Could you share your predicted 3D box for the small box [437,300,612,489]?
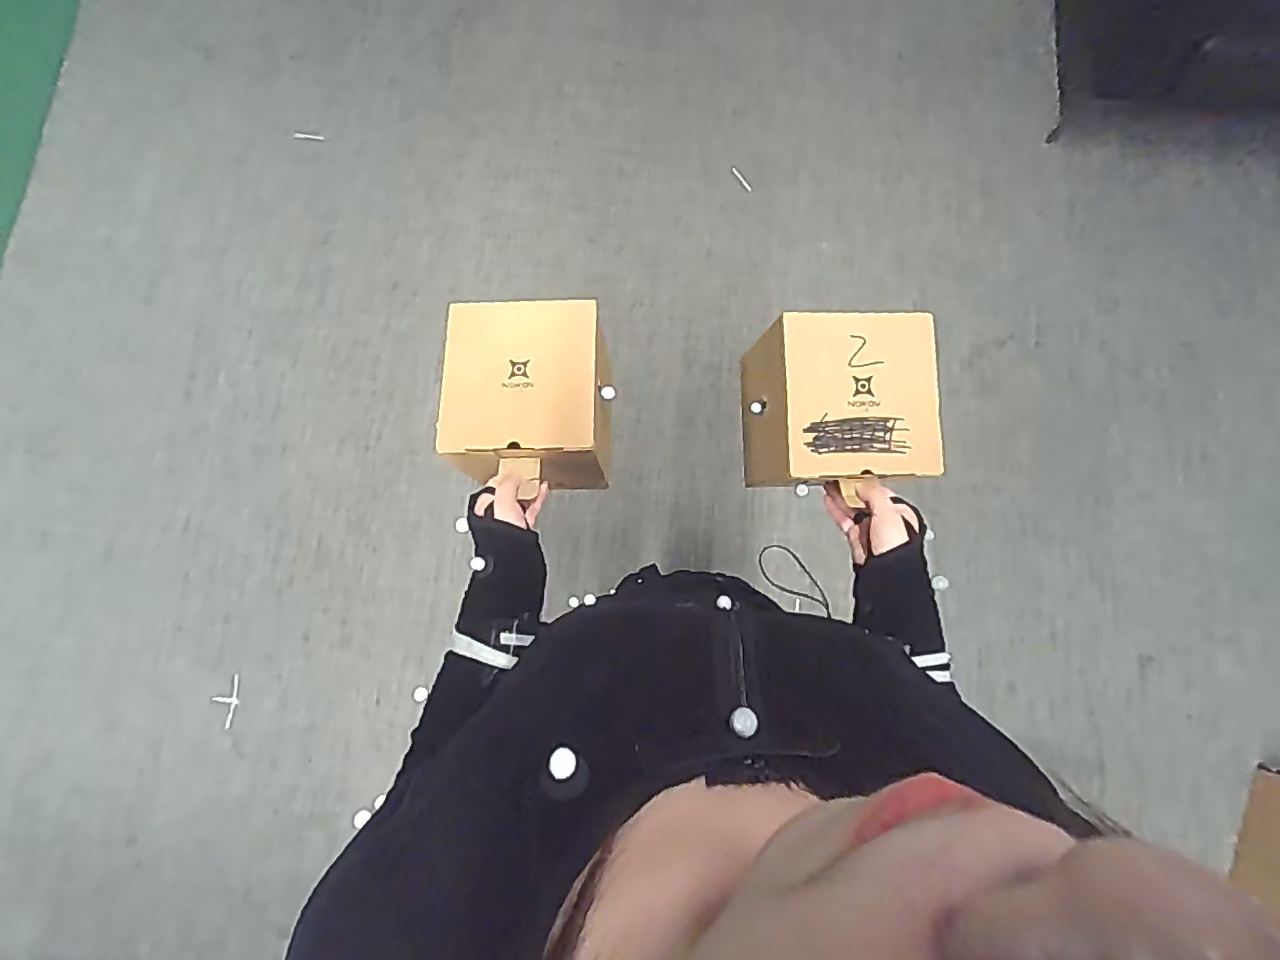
[{"bbox_3d":[-0.124,-0.094,0.651,0.168,0.176,0.179,0,76,2],"label":"small box"}]
